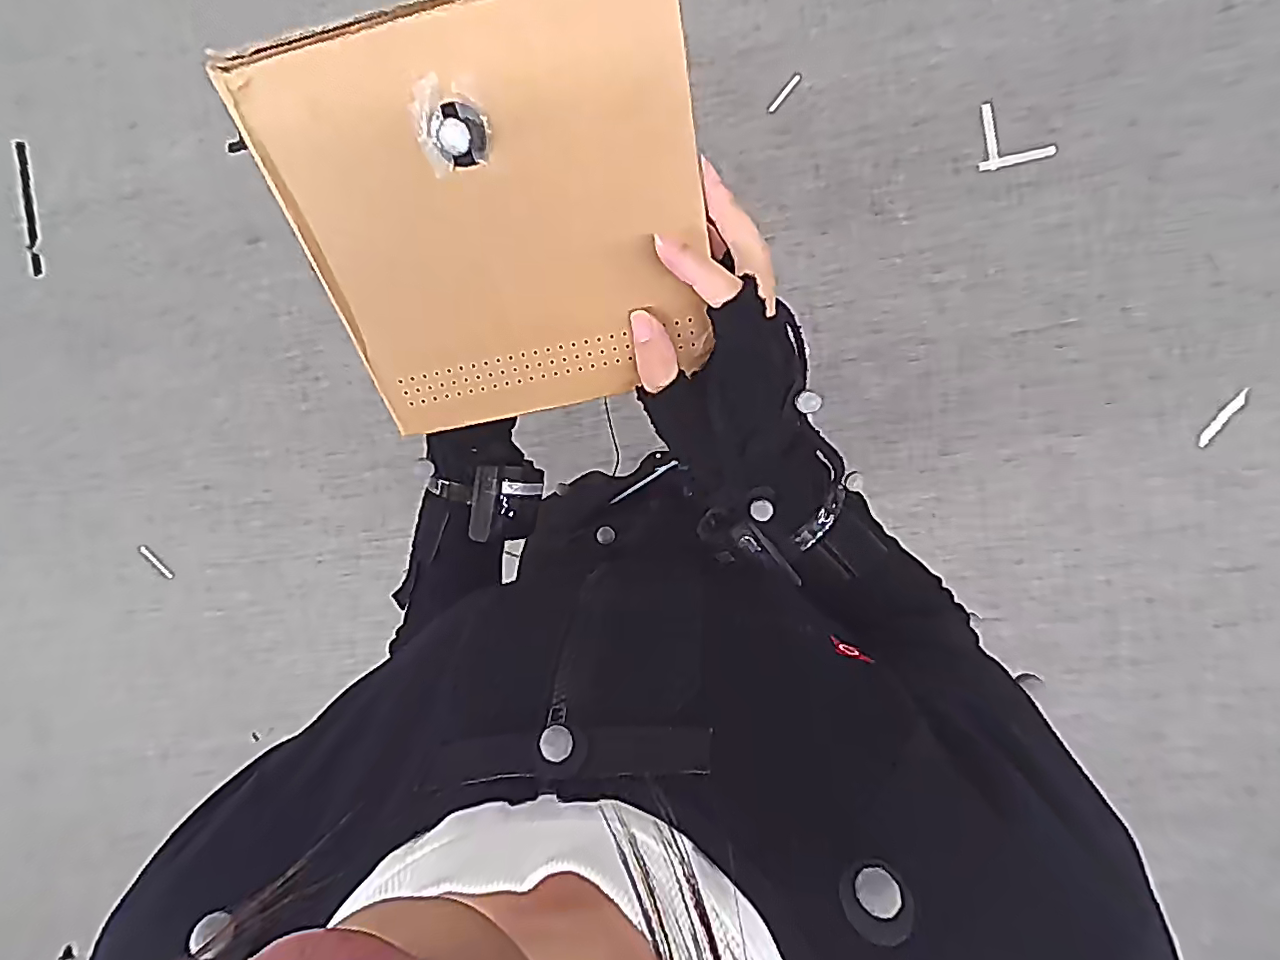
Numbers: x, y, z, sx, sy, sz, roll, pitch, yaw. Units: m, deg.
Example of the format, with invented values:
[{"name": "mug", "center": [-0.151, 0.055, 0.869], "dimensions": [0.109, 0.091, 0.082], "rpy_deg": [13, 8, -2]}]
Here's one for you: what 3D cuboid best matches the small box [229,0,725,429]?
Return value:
[{"name": "small box", "center": [-0.058, -0.146, 0.305], "dimensions": [0.179, 0.168, 0.176], "rpy_deg": [-10, 126, 5]}]
